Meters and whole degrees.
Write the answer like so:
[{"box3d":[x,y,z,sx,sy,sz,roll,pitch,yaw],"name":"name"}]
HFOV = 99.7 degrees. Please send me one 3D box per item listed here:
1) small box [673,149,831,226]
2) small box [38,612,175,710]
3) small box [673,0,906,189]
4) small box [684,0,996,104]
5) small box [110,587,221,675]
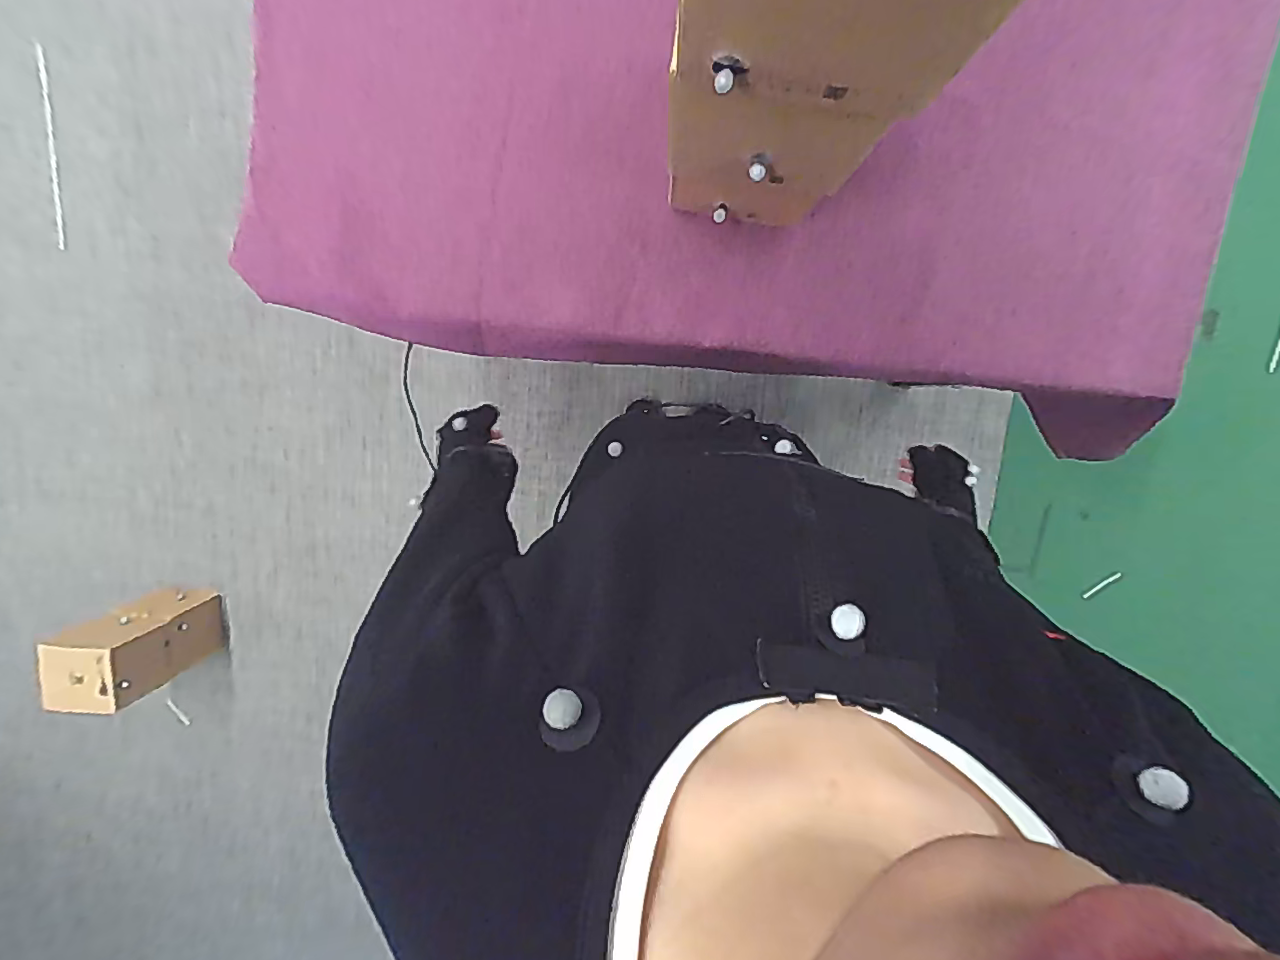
[{"box3d":[0.131,-0.406,0.594,0.168,0.176,0.179,10,99,1],"name":"small box"},{"box3d":[-1.304,0.438,1.333,0.179,0.176,0.168,5,99,2],"name":"small box"},{"box3d":[0.119,-0.367,0.435,0.168,0.176,0.179,9,99,1],"name":"small box"},{"box3d":[0.116,-0.332,0.274,0.168,0.176,0.179,9,98,1],"name":"small box"},{"box3d":[-1.301,0.413,1.495,0.168,0.176,0.179,5,99,1],"name":"small box"}]
